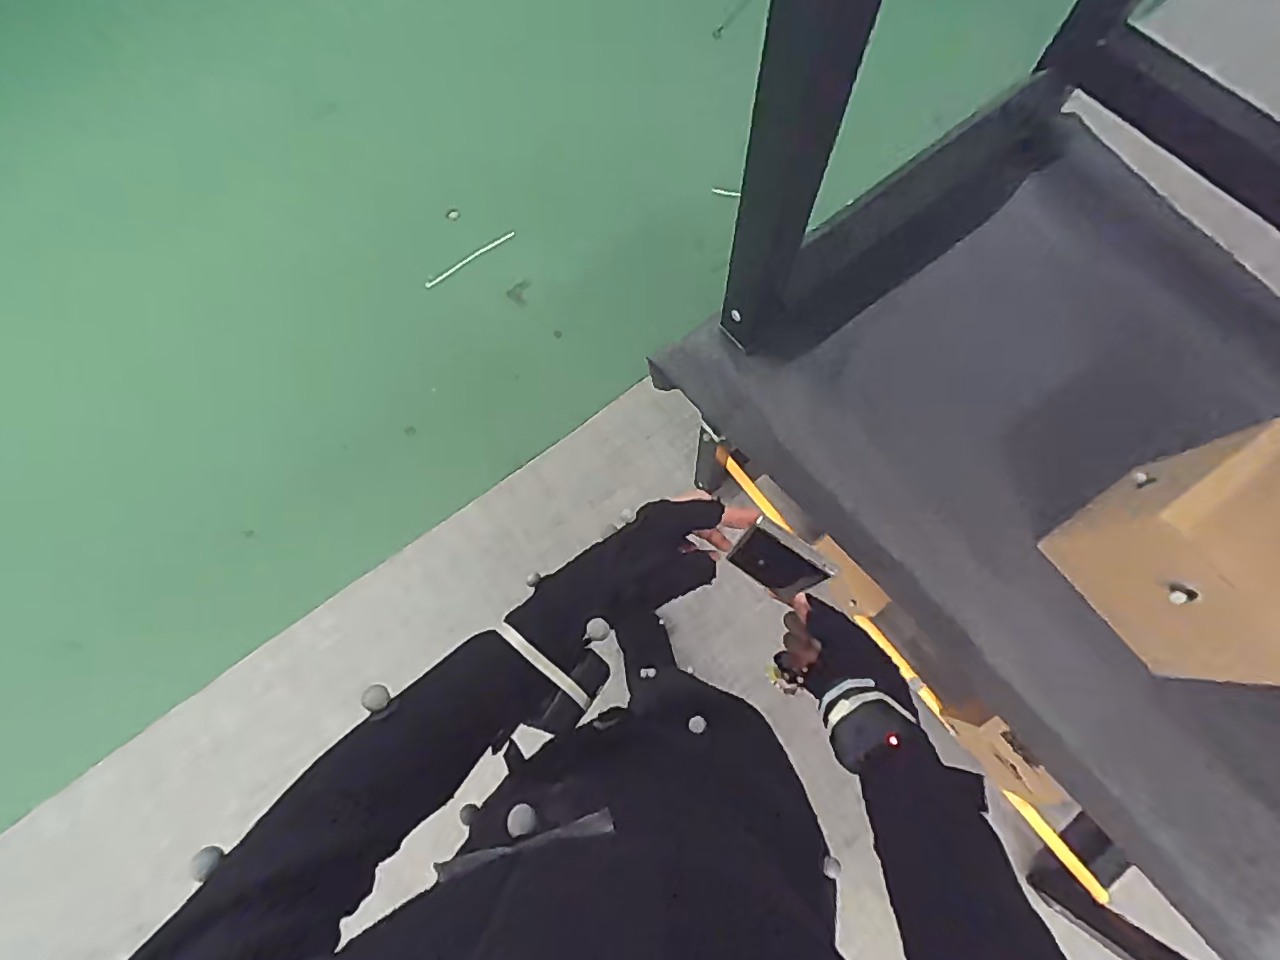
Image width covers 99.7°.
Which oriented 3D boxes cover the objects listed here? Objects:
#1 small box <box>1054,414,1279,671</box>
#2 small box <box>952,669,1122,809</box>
[{"bbox_3d":[0.568,0.070,0.523,0.168,0.176,0.179,-34,74,-6],"label":"small box"},{"bbox_3d":[0.743,0.486,1.042,0.179,0.176,0.168,-34,75,-6],"label":"small box"}]
